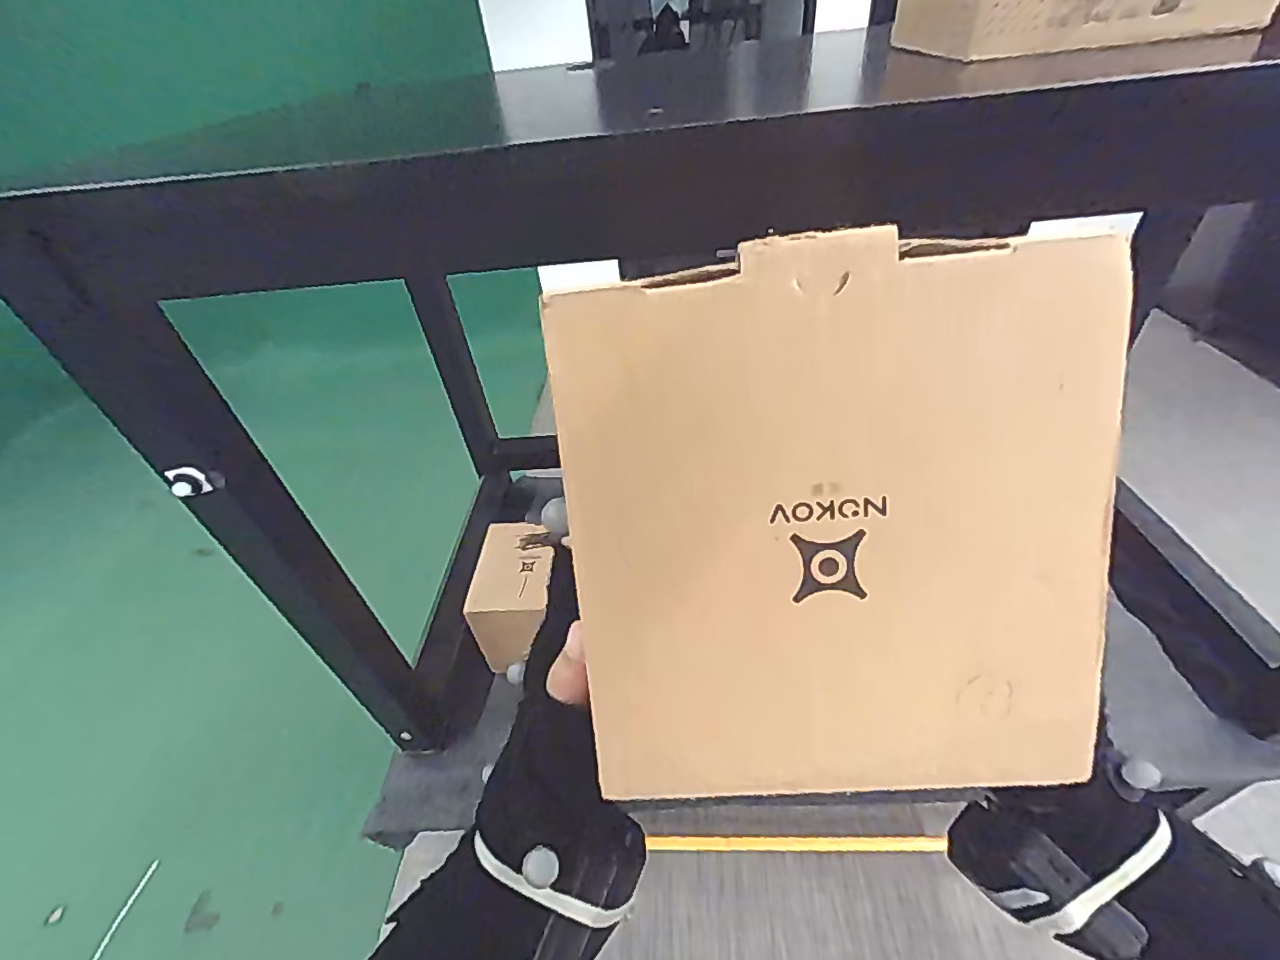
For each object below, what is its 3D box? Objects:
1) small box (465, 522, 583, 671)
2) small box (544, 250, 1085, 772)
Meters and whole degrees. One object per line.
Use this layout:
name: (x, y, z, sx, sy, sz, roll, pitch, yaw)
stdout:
small box: (-0.161, 0.188, 0.880, 0.168, 0.176, 0.179, -3, 41, 4)
small box: (0.062, 0.006, 0.260, 0.168, 0.179, 0.176, -5, 10, 5)
